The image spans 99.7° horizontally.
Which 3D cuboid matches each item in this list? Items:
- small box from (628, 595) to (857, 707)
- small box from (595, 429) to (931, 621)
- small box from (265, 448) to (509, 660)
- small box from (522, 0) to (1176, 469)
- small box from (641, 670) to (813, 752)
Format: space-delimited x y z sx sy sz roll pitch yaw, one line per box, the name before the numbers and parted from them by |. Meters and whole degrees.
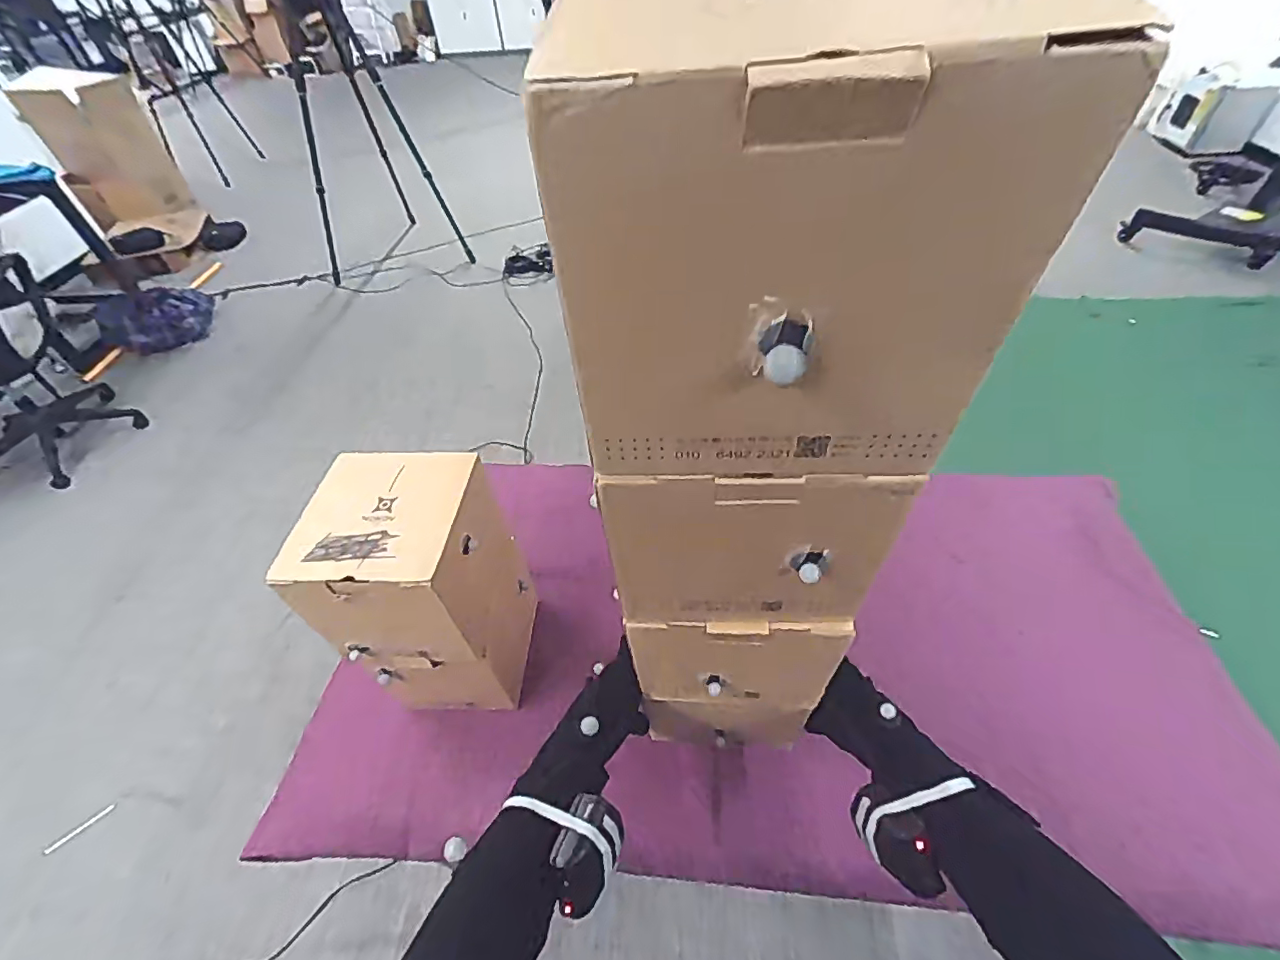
small box | 0.084 0.091 0.499 0.168 0.176 0.179 1 52 6
small box | 0.069 -0.014 0.375 0.168 0.176 0.179 0 52 5
small box | -0.259 0.086 0.609 0.168 0.176 0.179 3 48 5
small box | 0.058 -0.118 0.249 0.168 0.176 0.179 0 53 4
small box | 0.097 0.194 0.625 0.168 0.176 0.179 1 52 8
